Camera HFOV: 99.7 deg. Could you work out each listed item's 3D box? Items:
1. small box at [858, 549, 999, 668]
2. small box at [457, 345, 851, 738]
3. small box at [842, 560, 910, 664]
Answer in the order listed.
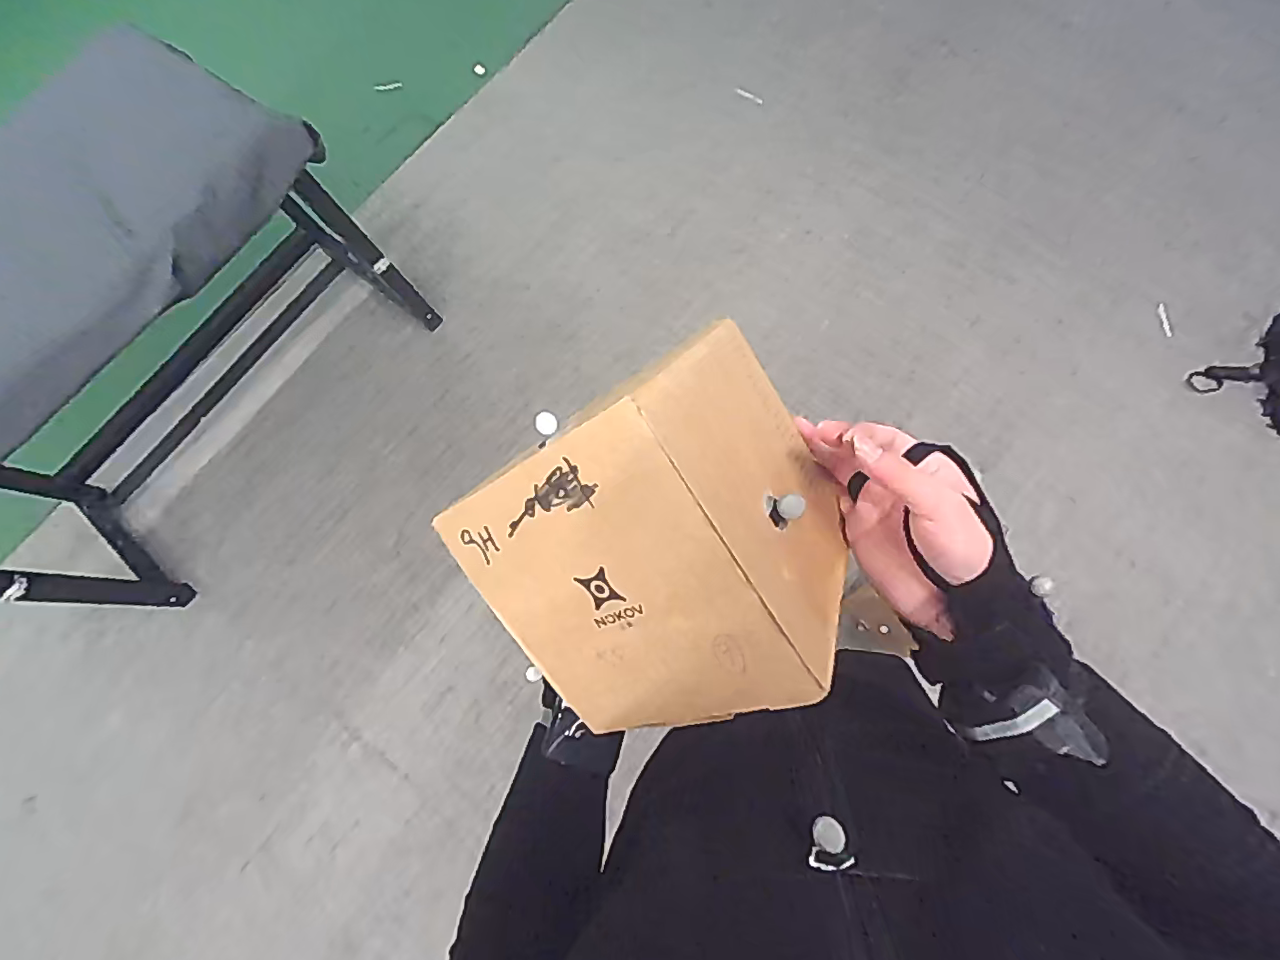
[{"bbox_3d":[0.594,0.272,1.142,0.179,0.176,0.168,-37,71,-3],"label":"small box"},{"bbox_3d":[0.026,0.038,0.363,0.168,0.176,0.179,-26,104,34],"label":"small box"},{"bbox_3d":[0.615,0.317,1.299,0.179,0.176,0.168,-39,72,-3],"label":"small box"}]
